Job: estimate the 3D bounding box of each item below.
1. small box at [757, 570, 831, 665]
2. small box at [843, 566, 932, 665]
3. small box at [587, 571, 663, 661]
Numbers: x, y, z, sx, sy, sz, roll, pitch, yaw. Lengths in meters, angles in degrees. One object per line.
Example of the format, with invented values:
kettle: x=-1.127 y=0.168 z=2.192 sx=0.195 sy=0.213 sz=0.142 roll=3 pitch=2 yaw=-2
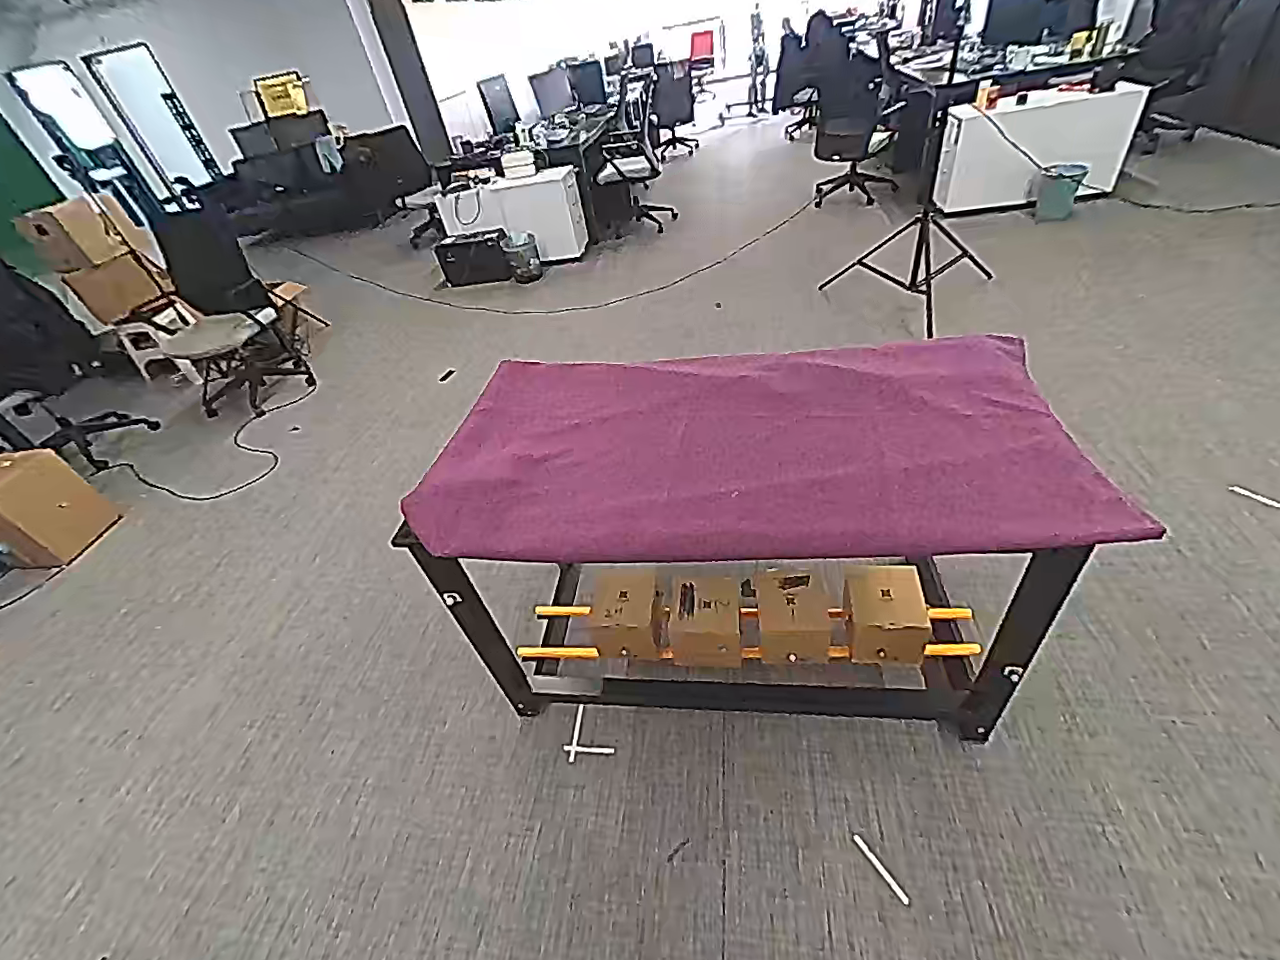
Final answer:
small box: x=0.385 y=0.351 z=1.379 sx=0.168 sy=0.176 sz=0.179 roll=-4 pitch=44 yaw=11
small box: x=0.601 y=0.334 z=1.339 sx=0.168 sy=0.176 sz=0.179 roll=-2 pitch=43 yaw=14
small box: x=-0.033 y=0.365 z=1.462 sx=0.168 sy=0.176 sz=0.179 roll=-2 pitch=43 yaw=12
